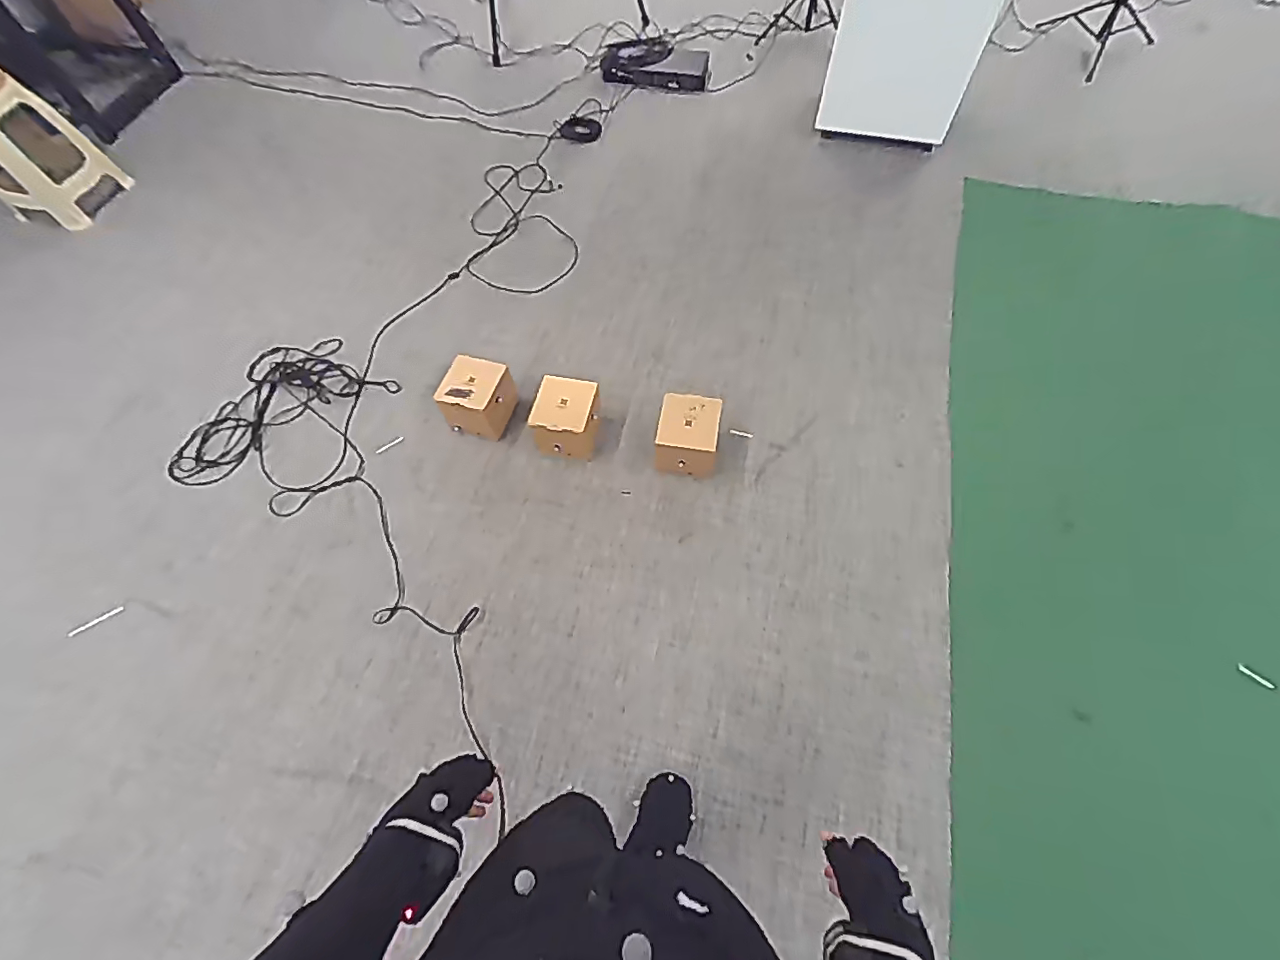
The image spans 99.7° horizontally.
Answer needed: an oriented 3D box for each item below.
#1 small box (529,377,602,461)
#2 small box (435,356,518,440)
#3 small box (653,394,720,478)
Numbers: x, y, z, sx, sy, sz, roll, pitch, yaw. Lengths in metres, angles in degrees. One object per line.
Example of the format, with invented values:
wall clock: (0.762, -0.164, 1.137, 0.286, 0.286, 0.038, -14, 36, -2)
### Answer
small box: (-0.216, -0.180, 1.621, 0.168, 0.176, 0.179, 10, 65, 8)
small box: (-0.495, -0.248, 1.668, 0.168, 0.176, 0.179, 15, 64, 10)
small box: (0.136, -0.123, 1.573, 0.168, 0.176, 0.179, 9, 64, 6)
